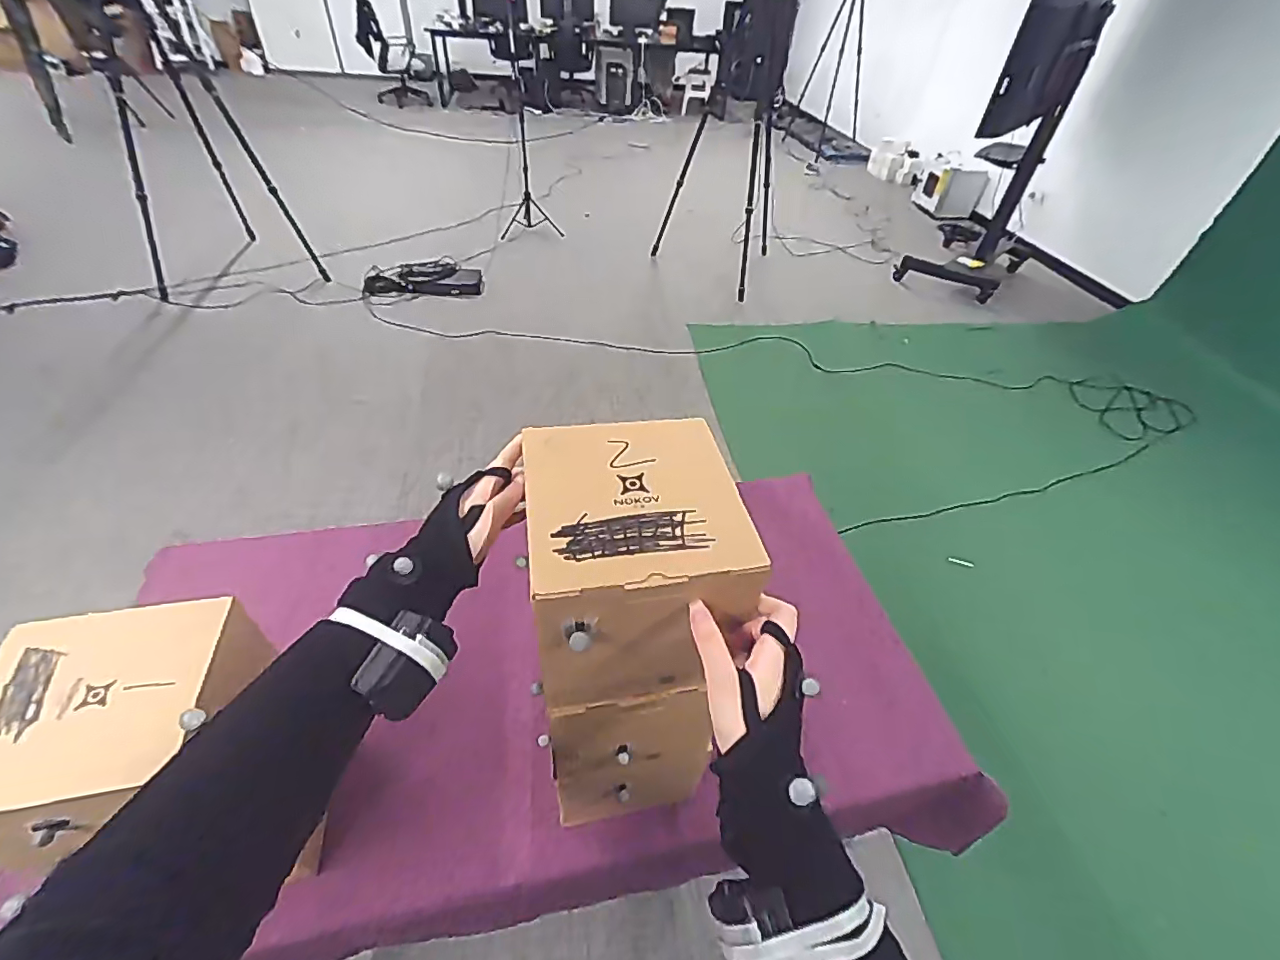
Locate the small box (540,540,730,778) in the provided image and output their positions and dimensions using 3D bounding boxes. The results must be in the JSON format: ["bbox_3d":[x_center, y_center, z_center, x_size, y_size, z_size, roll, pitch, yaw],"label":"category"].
[{"bbox_3d":[-0.019,0.190,0.586,0.168,0.176,0.179,-5,45,-11],"label":"small box"}]

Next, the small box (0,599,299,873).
[{"bbox_3d":[-0.455,0.235,0.500,0.179,0.176,0.168,-5,45,-12],"label":"small box"}]

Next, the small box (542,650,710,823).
[{"bbox_3d":[-0.024,0.313,0.694,0.179,0.176,0.168,-7,45,-11],"label":"small box"}]
